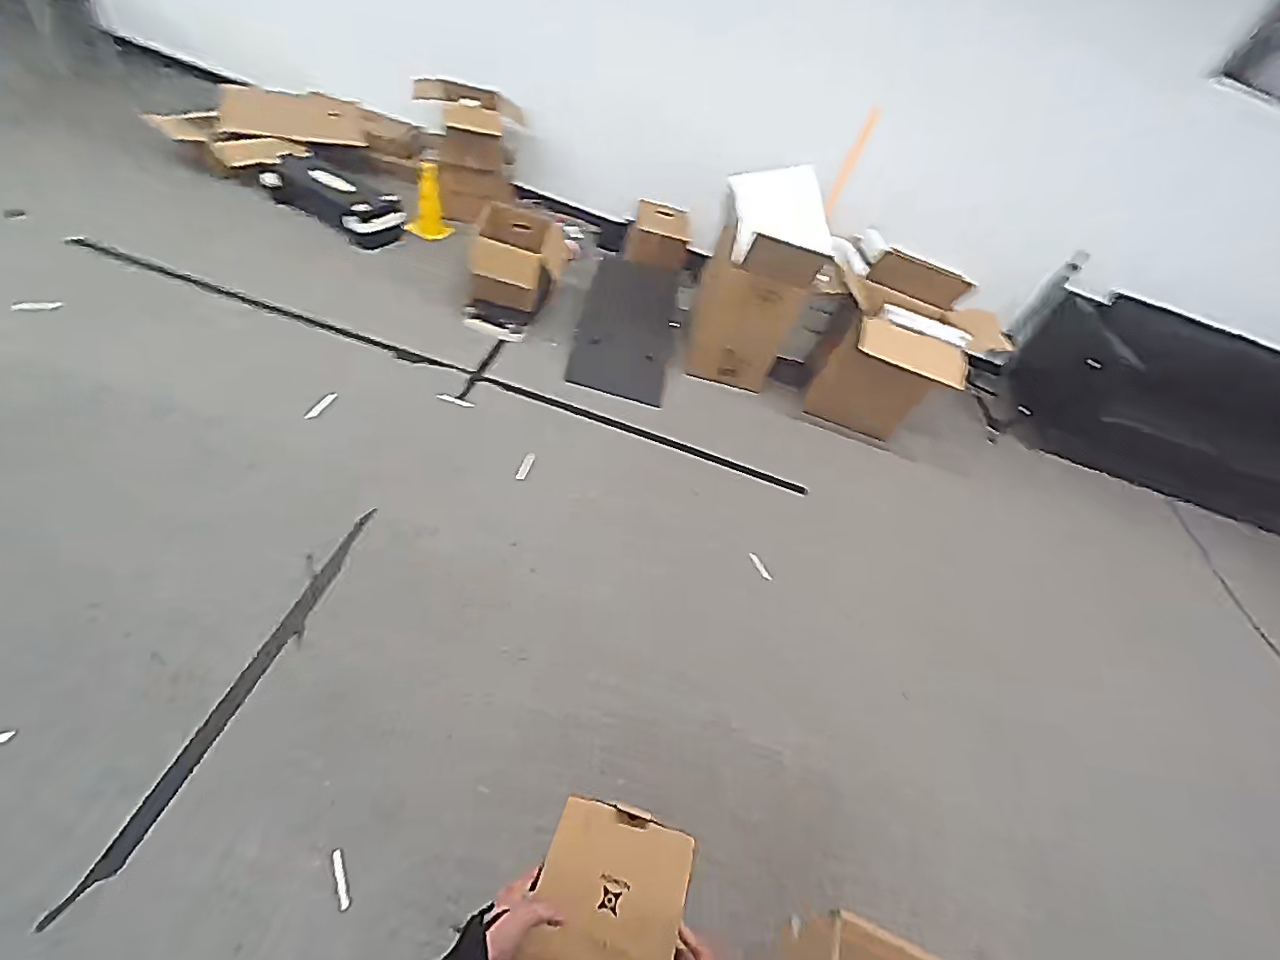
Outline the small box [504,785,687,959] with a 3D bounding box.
[{"bbox_3d":[-0.056,0.510,0.647,0.168,0.176,0.179,18,42,4],"label":"small box"}]
